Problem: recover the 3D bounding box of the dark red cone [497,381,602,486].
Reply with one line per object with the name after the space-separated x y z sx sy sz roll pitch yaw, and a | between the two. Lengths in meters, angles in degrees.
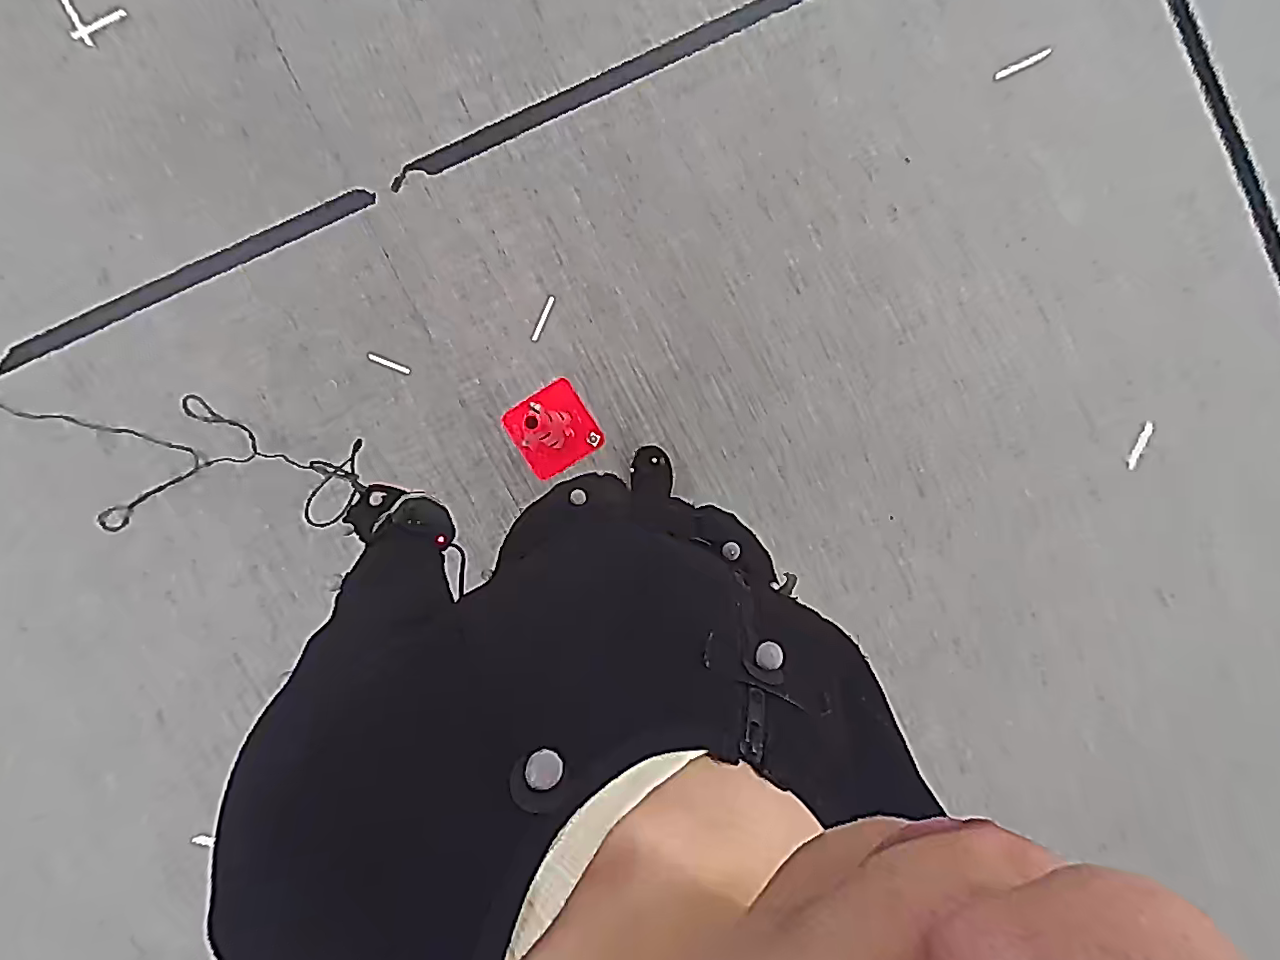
-0.214 -0.105 1.142 0.202 0.394 0.201 -34 93 0 | dark red cone
